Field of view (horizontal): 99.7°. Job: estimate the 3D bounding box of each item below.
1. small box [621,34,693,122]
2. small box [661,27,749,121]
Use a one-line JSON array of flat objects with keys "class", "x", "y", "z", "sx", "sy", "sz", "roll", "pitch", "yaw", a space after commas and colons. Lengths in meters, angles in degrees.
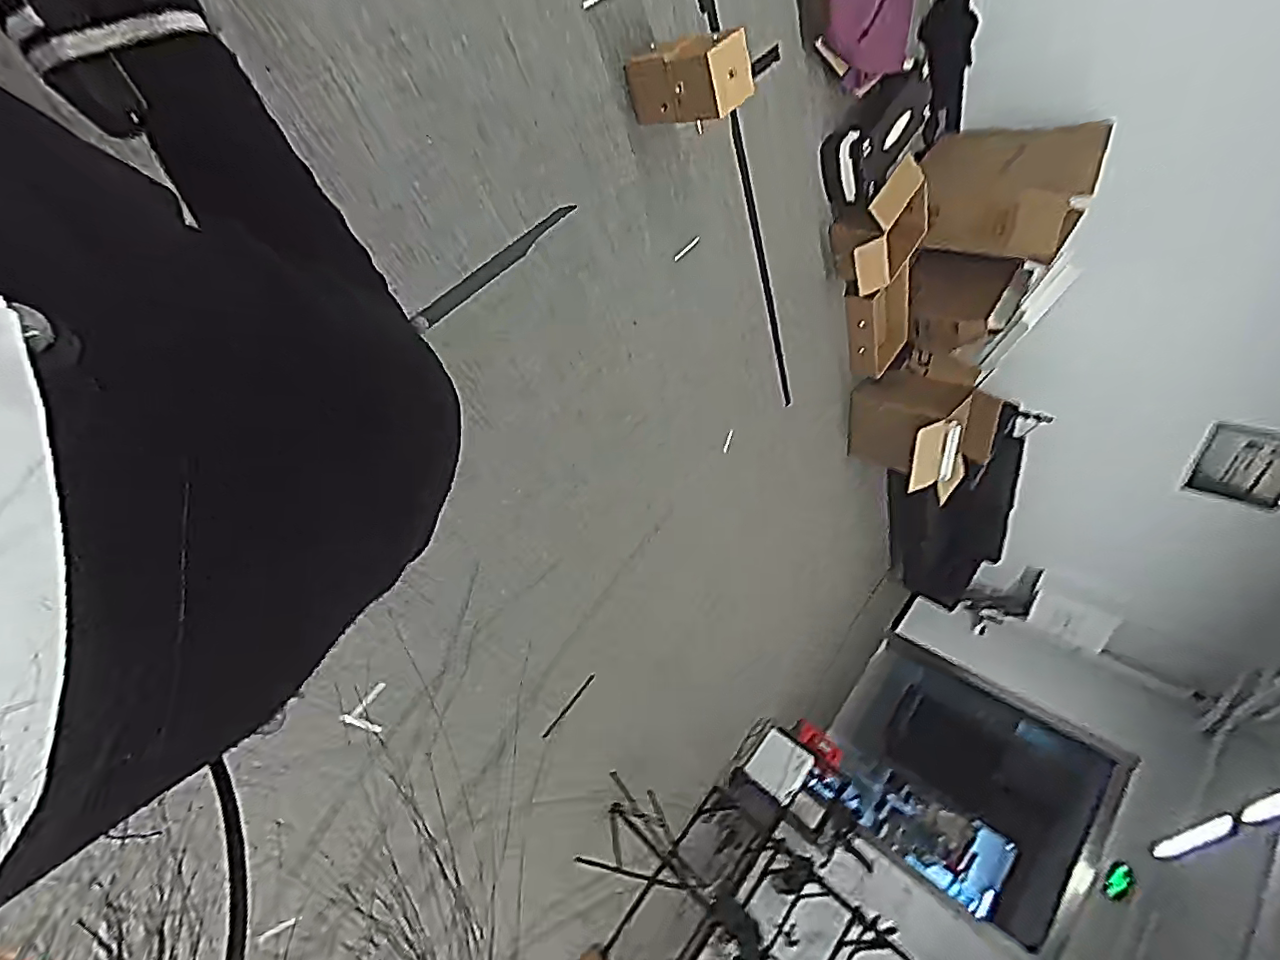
[{"class": "small box", "x": 0.072, "y": -1.245, "z": 1.687, "sx": 0.168, "sy": 0.176, "sz": 0.179, "roll": -47, "pitch": 138, "yaw": -20}, {"class": "small box", "x": 0.190, "y": -1.189, "z": 1.591, "sx": 0.179, "sy": 0.176, "sz": 0.168, "roll": -47, "pitch": 137, "yaw": -18}]
